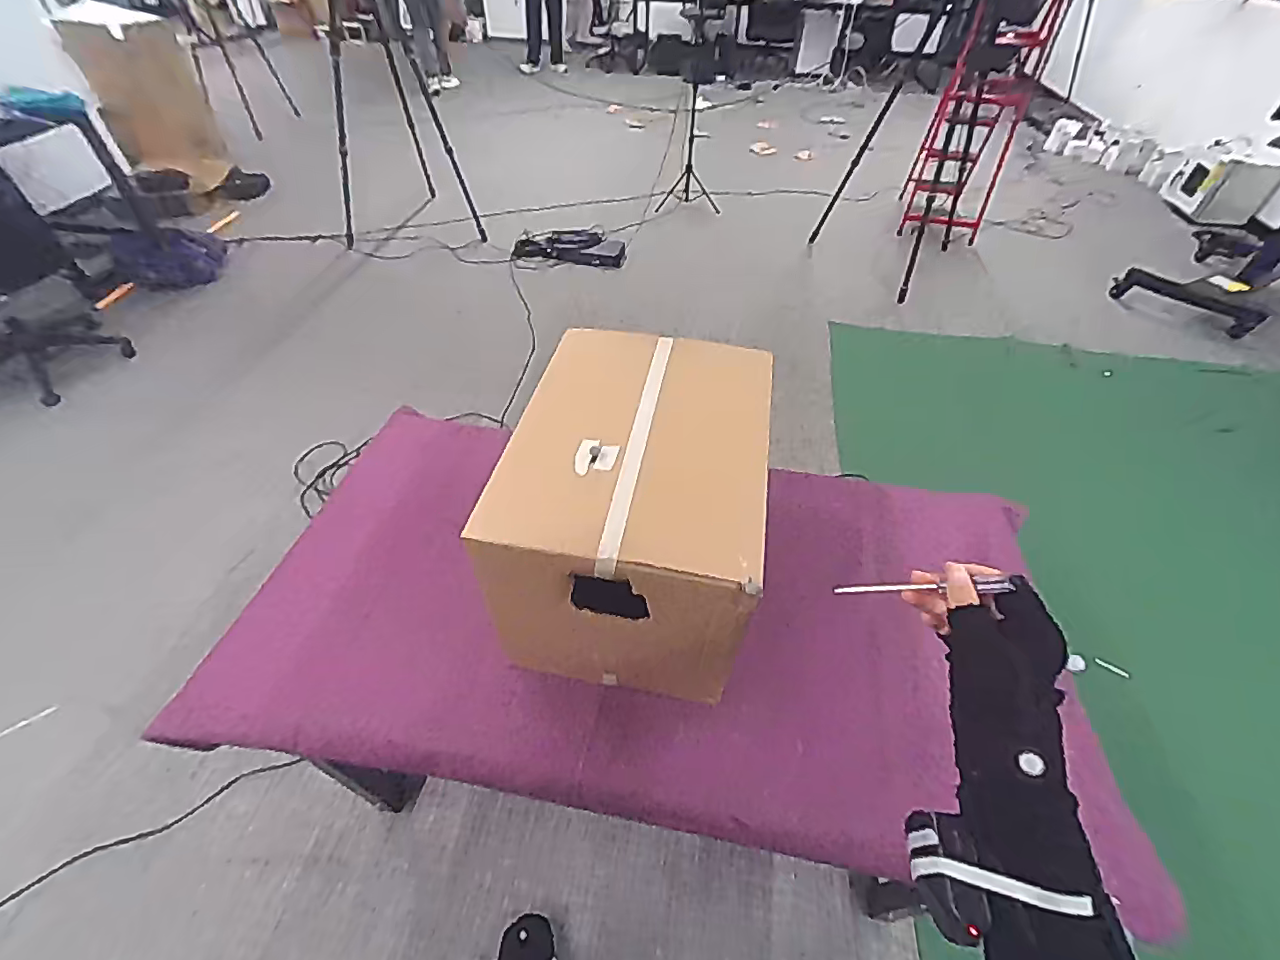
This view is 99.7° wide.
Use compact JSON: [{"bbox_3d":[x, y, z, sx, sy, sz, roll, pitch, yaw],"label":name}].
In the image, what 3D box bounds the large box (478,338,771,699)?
[{"bbox_3d":[0.003,0.048,0.801,0.320,0.320,0.408,9,49,6],"label":"large box"}]
